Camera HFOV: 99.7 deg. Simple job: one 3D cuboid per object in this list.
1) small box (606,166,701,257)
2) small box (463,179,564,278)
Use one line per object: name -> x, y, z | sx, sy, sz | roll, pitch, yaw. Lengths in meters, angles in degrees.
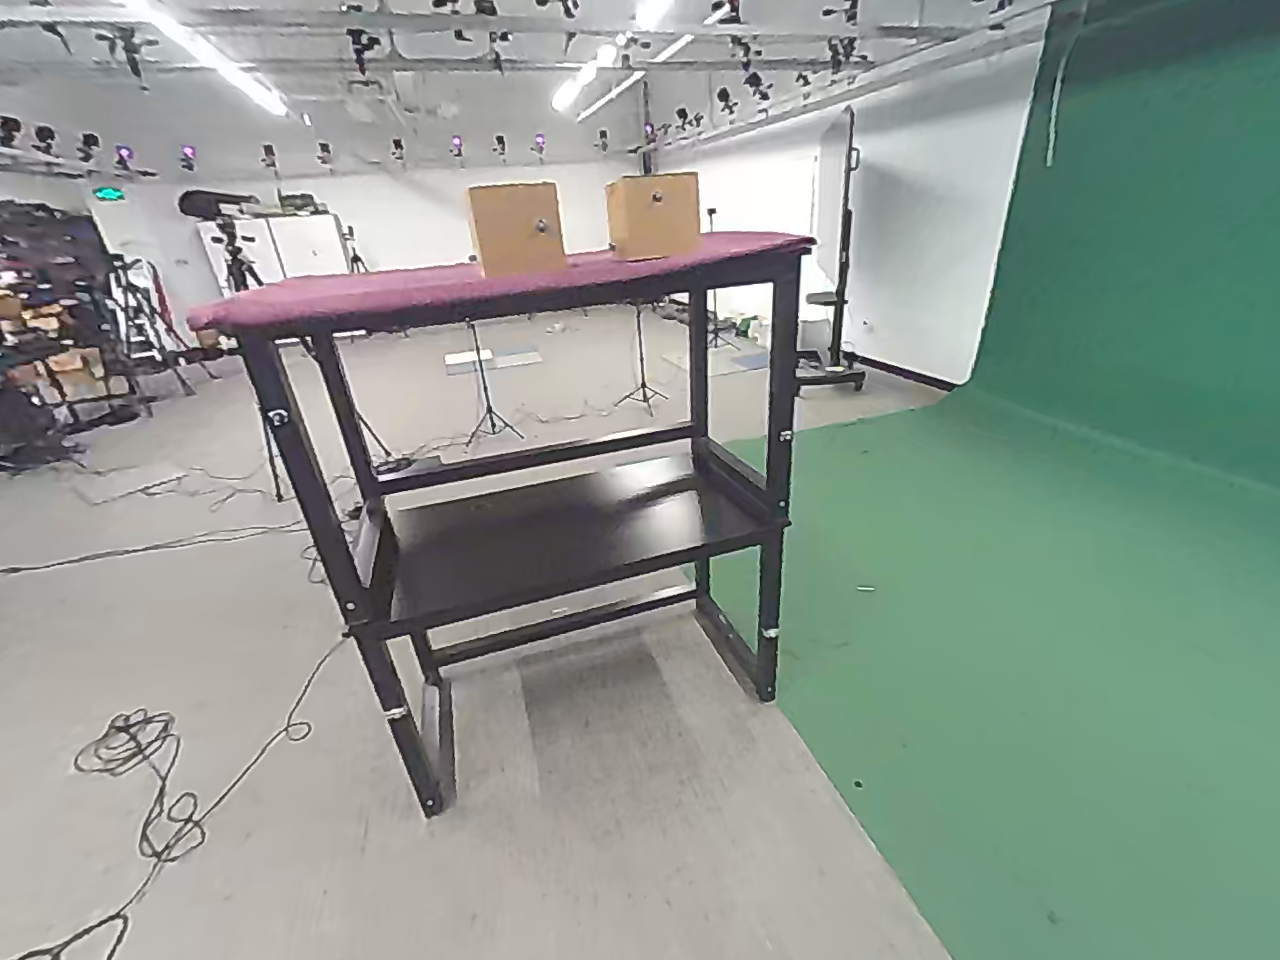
small box -> 0.032, -0.612, 1.248 | 0.179, 0.176, 0.168 | -12, 25, -13
small box -> -0.264, -0.532, 1.145 | 0.179, 0.176, 0.168 | -14, 28, -16
